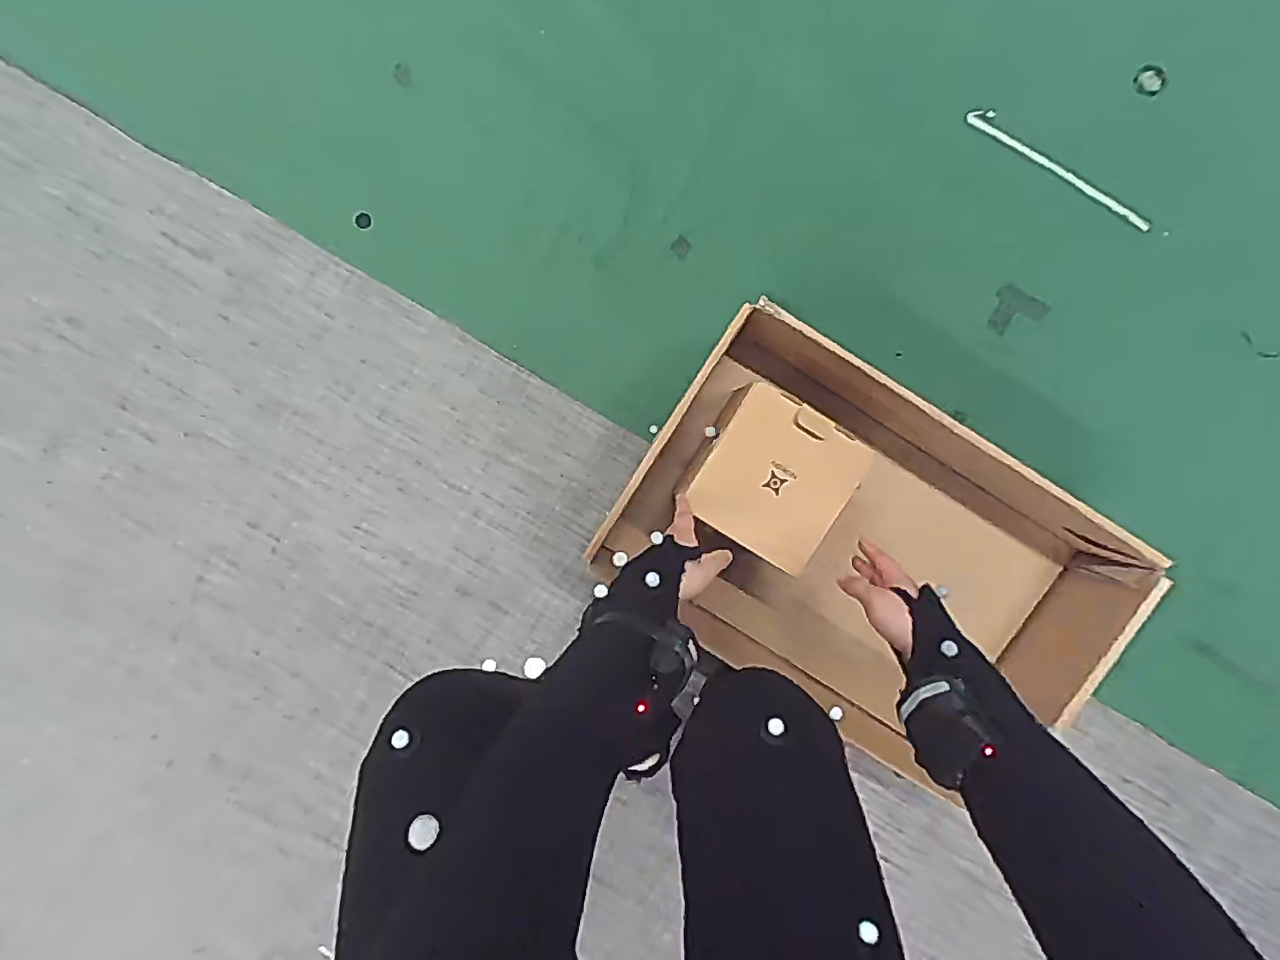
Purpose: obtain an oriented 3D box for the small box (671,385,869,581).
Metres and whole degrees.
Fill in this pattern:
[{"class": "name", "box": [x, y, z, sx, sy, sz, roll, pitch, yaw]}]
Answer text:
[{"class": "small box", "box": [0.154, -0.001, 0.702, 0.168, 0.176, 0.179, 32, 94, -2]}]
